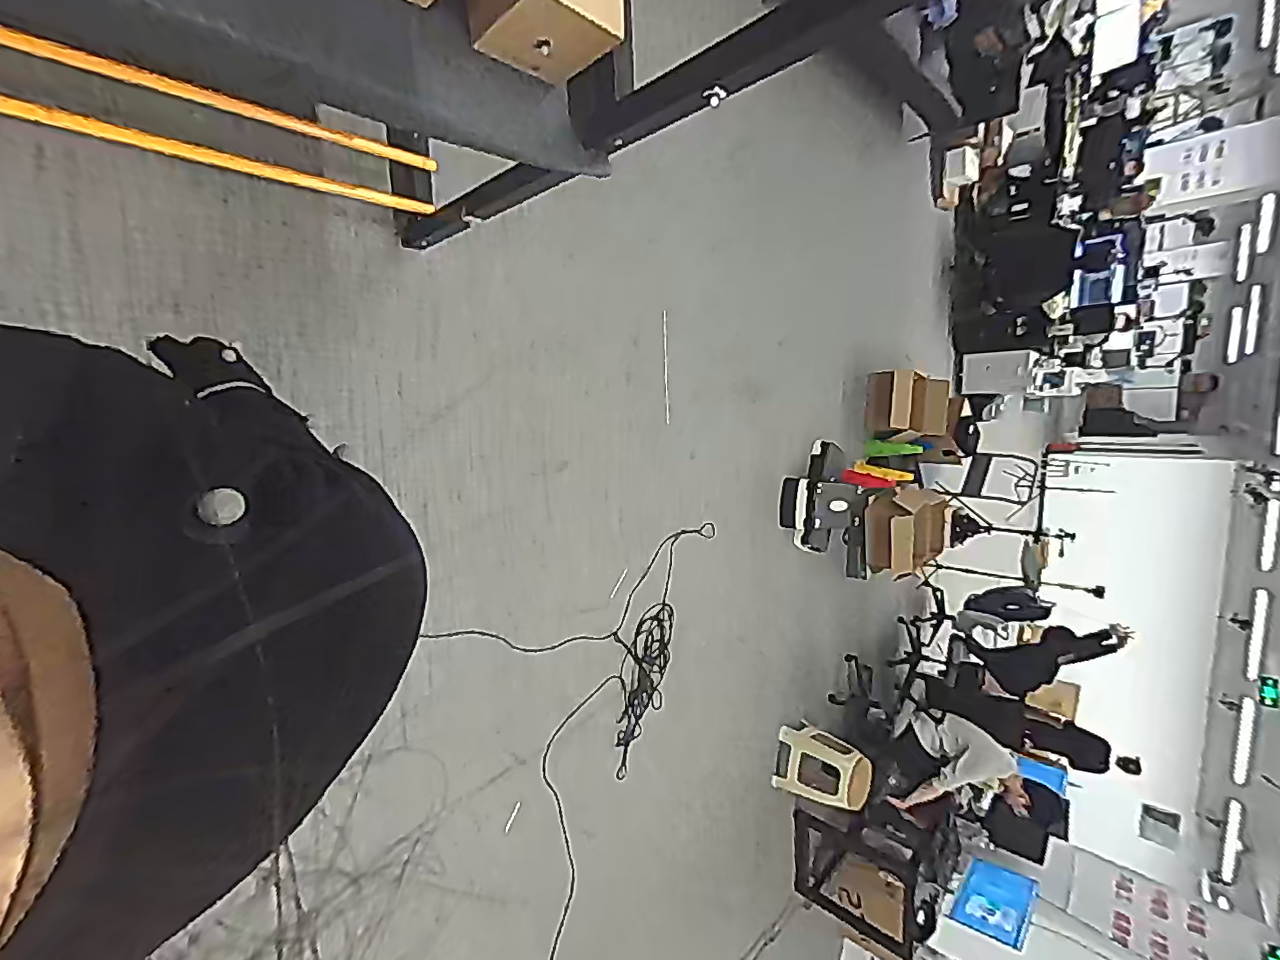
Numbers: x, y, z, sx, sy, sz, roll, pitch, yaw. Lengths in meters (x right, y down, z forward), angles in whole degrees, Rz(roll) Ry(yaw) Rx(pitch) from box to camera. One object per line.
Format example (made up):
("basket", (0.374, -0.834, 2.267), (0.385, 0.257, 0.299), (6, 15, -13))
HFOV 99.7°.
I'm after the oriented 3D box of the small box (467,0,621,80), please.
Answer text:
("small box", (-0.148, -0.746, 0.805), (0.168, 0.176, 0.179), (-12, 102, -46))
